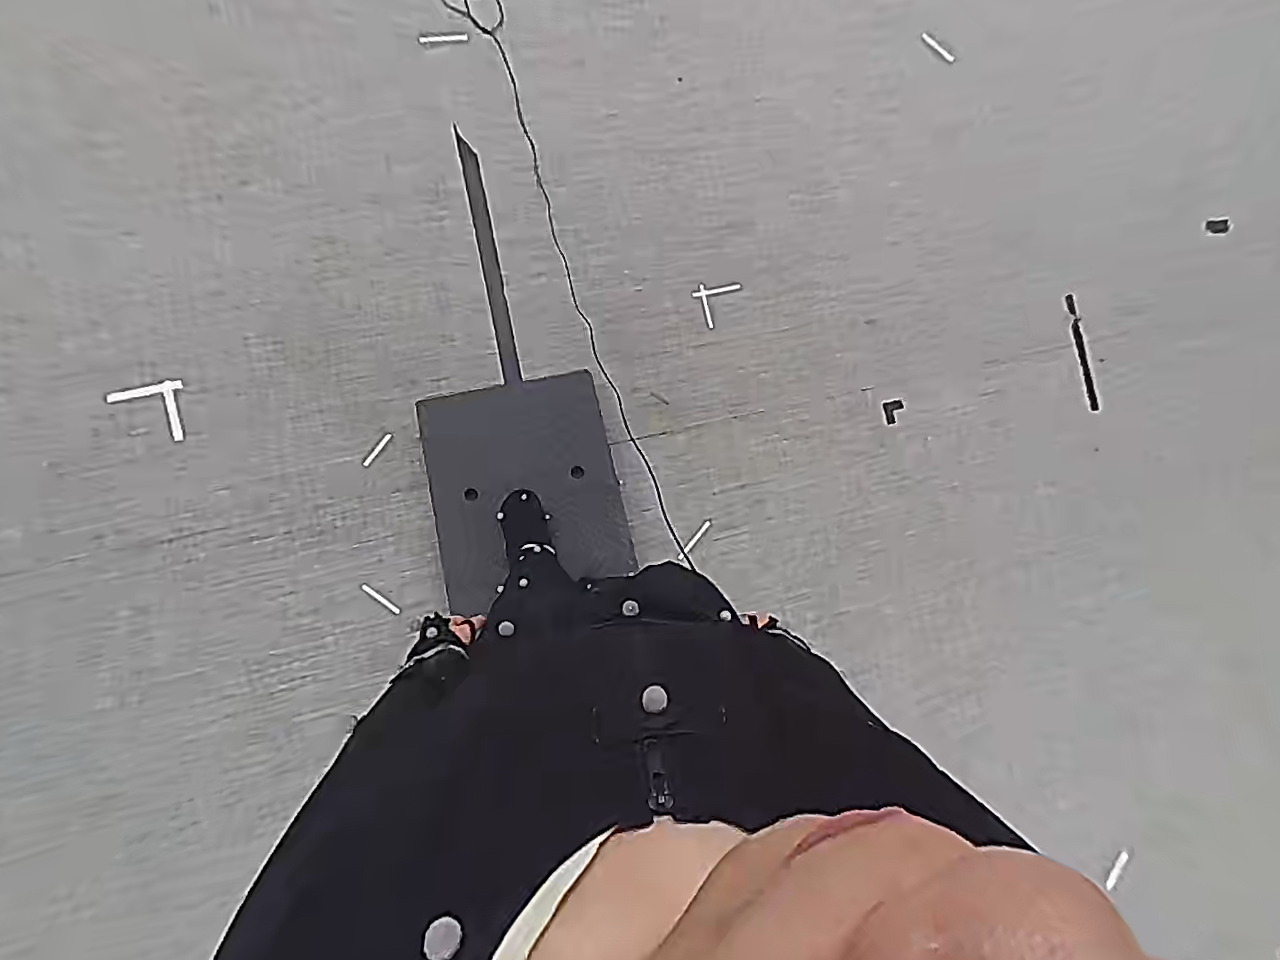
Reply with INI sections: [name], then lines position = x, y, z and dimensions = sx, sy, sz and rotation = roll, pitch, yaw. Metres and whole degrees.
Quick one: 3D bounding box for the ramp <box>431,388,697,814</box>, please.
[ramp]
position = -0.222, 0.250, 1.399
dimensions = 0.509, 0.206, 0.991
rotation = -15, 85, -8
